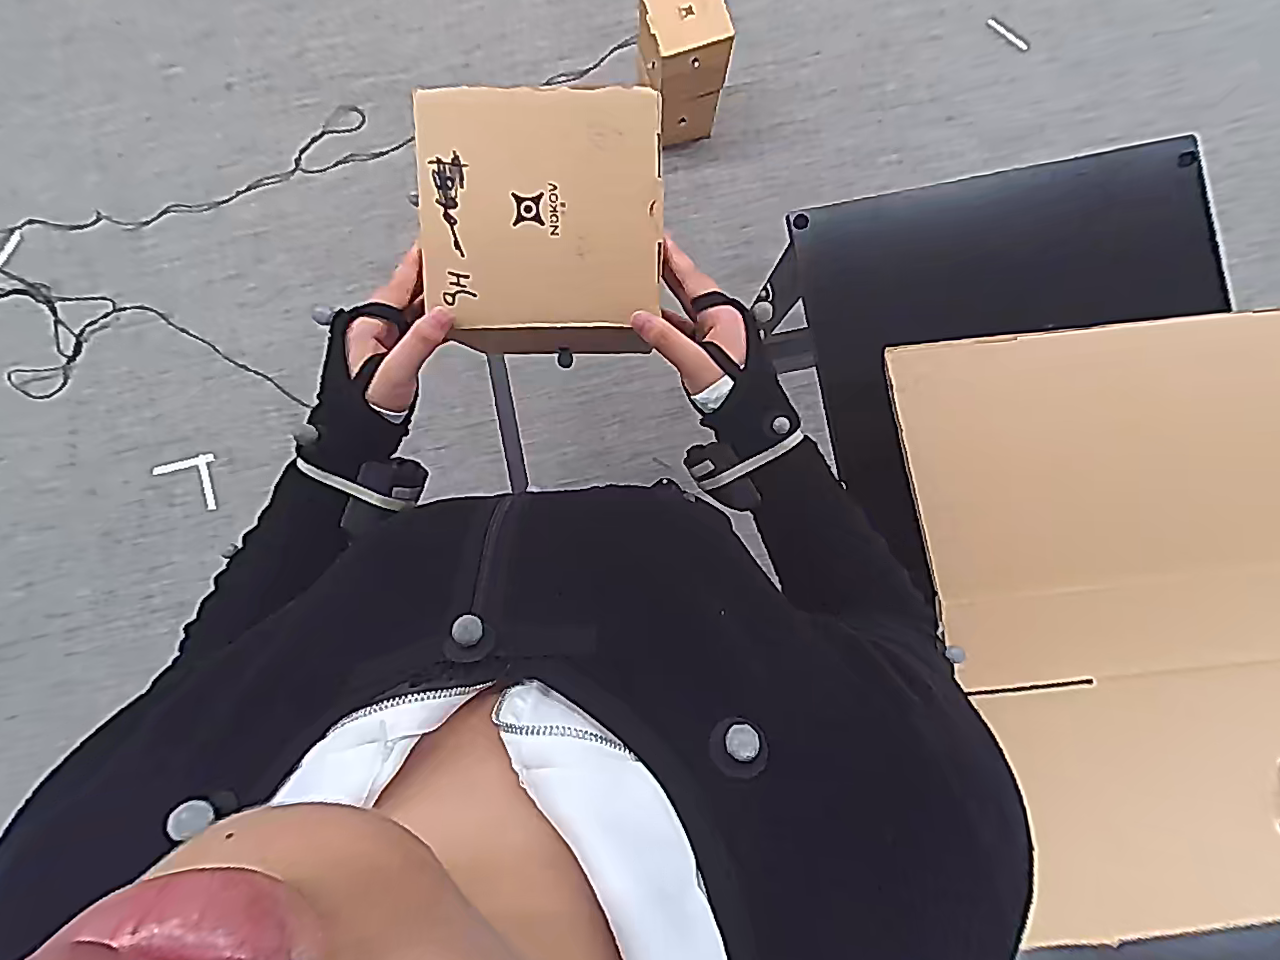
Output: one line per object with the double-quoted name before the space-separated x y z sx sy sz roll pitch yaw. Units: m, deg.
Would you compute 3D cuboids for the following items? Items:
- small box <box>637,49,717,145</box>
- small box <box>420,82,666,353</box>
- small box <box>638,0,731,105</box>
"small box" 0.093 -1.037 1.454 0.179 0.176 0.168 -15 89 0
"small box" -0.073 -0.207 0.472 0.179 0.176 0.168 -1 95 -2
"small box" 0.100 -1.043 1.292 0.179 0.176 0.168 -18 89 -2
